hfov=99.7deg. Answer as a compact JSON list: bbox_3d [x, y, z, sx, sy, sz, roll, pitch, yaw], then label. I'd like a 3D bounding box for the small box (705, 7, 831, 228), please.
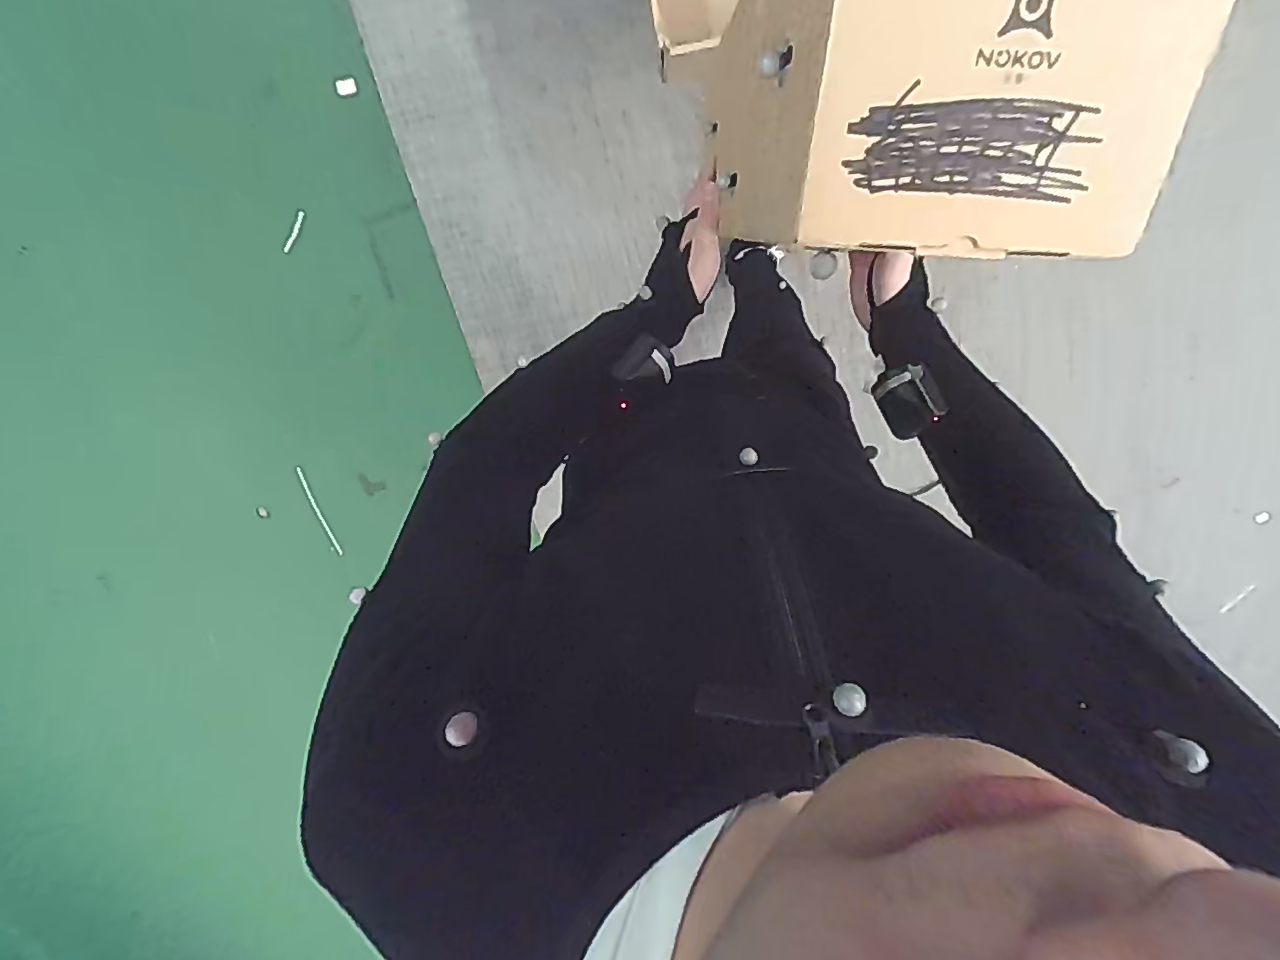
[{"bbox_3d":[0.163,-0.376,0.591,0.168,0.176,0.179,2,115,1],"label":"small box"}]

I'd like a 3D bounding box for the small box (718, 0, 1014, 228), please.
[{"bbox_3d":[0.160,-0.306,0.445,0.168,0.176,0.179,1,116,0],"label":"small box"}]
